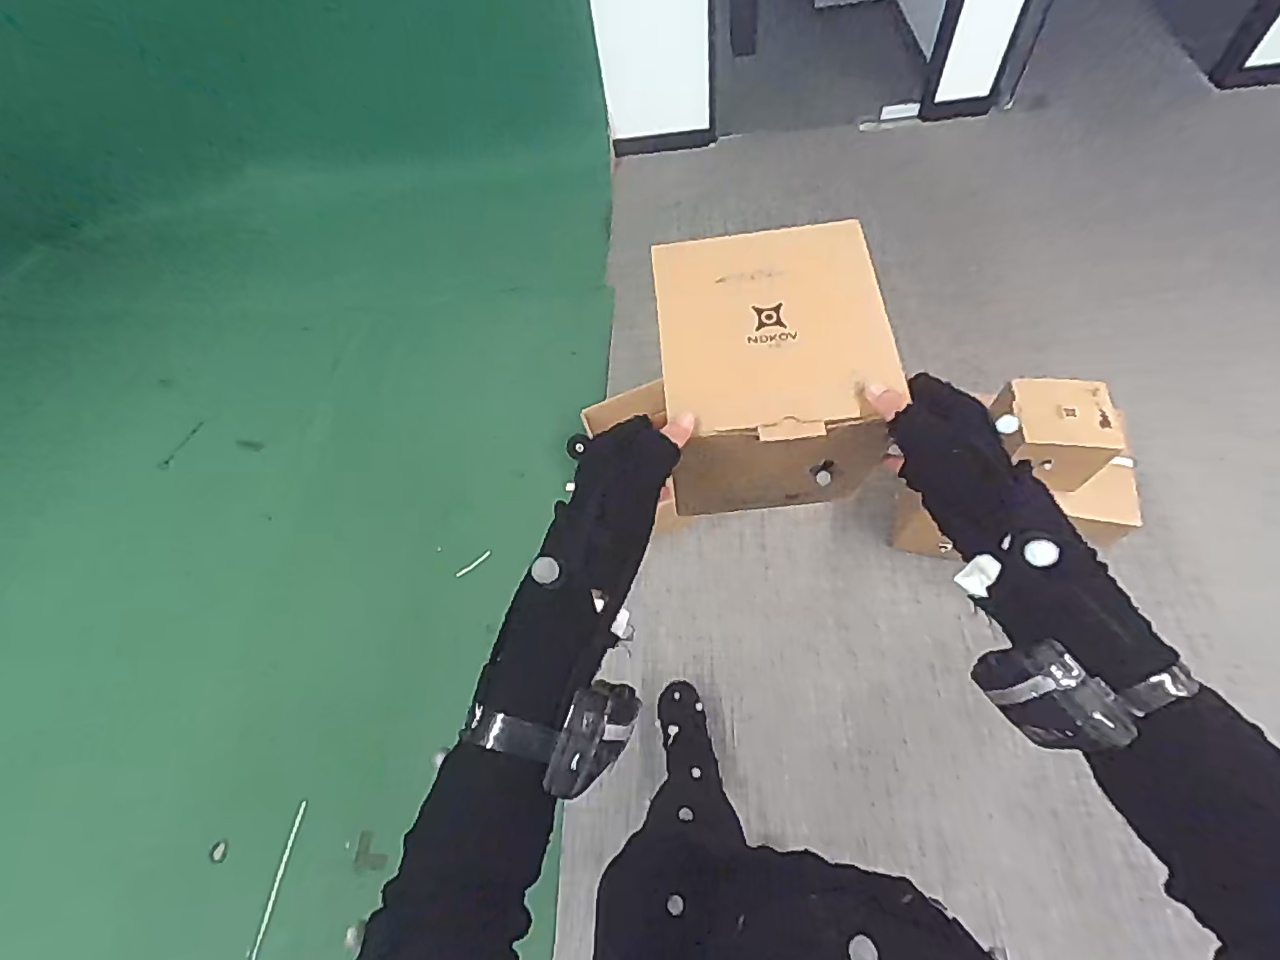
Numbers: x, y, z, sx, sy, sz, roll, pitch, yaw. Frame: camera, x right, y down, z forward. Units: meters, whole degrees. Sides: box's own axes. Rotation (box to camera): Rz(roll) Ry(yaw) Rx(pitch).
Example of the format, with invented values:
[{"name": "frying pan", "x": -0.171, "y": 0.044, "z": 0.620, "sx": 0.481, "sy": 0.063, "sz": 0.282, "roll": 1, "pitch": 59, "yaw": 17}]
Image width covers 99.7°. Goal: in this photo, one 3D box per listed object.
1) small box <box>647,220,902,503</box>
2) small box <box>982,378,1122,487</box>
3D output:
[{"name": "small box", "x": 0.099, "y": -0.087, "z": 0.472, "sx": 0.168, "sy": 0.176, "sz": 0.179, "roll": -6, "pitch": 66, "yaw": 3}, {"name": "small box", "x": 0.847, "y": -0.097, "z": 1.138, "sx": 0.179, "sy": 0.176, "sz": 0.168, "roll": 4, "pitch": 61, "yaw": 11}]
